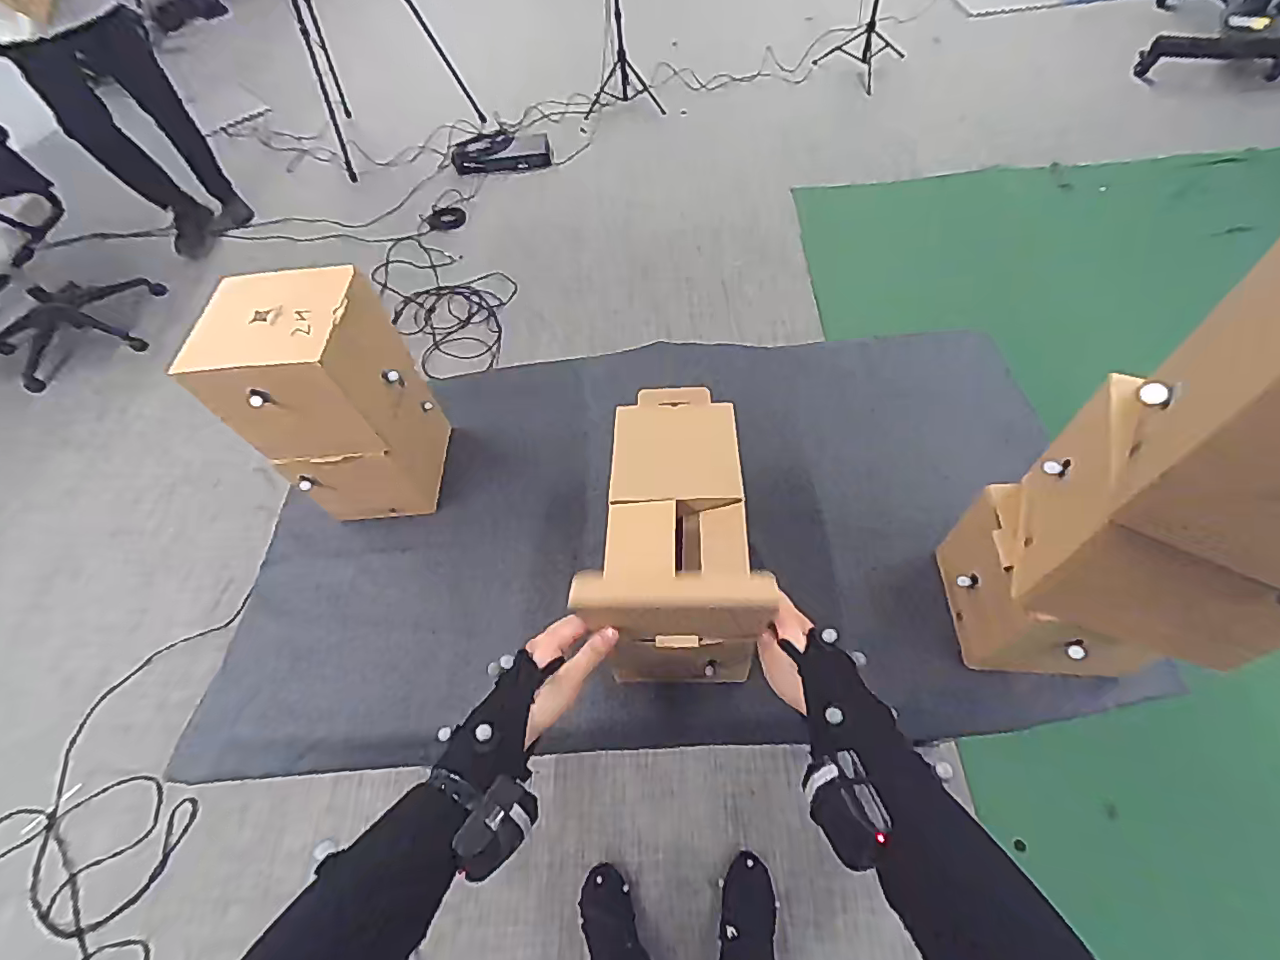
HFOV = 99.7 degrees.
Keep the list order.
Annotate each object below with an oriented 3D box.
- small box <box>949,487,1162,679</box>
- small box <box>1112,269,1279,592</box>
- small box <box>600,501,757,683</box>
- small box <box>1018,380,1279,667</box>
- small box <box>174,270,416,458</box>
[{"bbox_3d":[0.484,0.123,0.625,0.179,0.176,0.168,0,55,7],"label":"small box"},{"bbox_3d":[0.456,-0.032,0.334,0.179,0.176,0.168,28,62,23],"label":"small box"},{"bbox_3d":[0.048,0.143,0.664,0.168,0.176,0.179,-1,55,4],"label":"small box"},{"bbox_3d":[0.473,0.043,0.482,0.179,0.176,0.168,19,59,18],"label":"small box"},{"bbox_3d":[-0.420,-0.141,0.695,0.179,0.176,0.168,-4,58,3],"label":"small box"}]
